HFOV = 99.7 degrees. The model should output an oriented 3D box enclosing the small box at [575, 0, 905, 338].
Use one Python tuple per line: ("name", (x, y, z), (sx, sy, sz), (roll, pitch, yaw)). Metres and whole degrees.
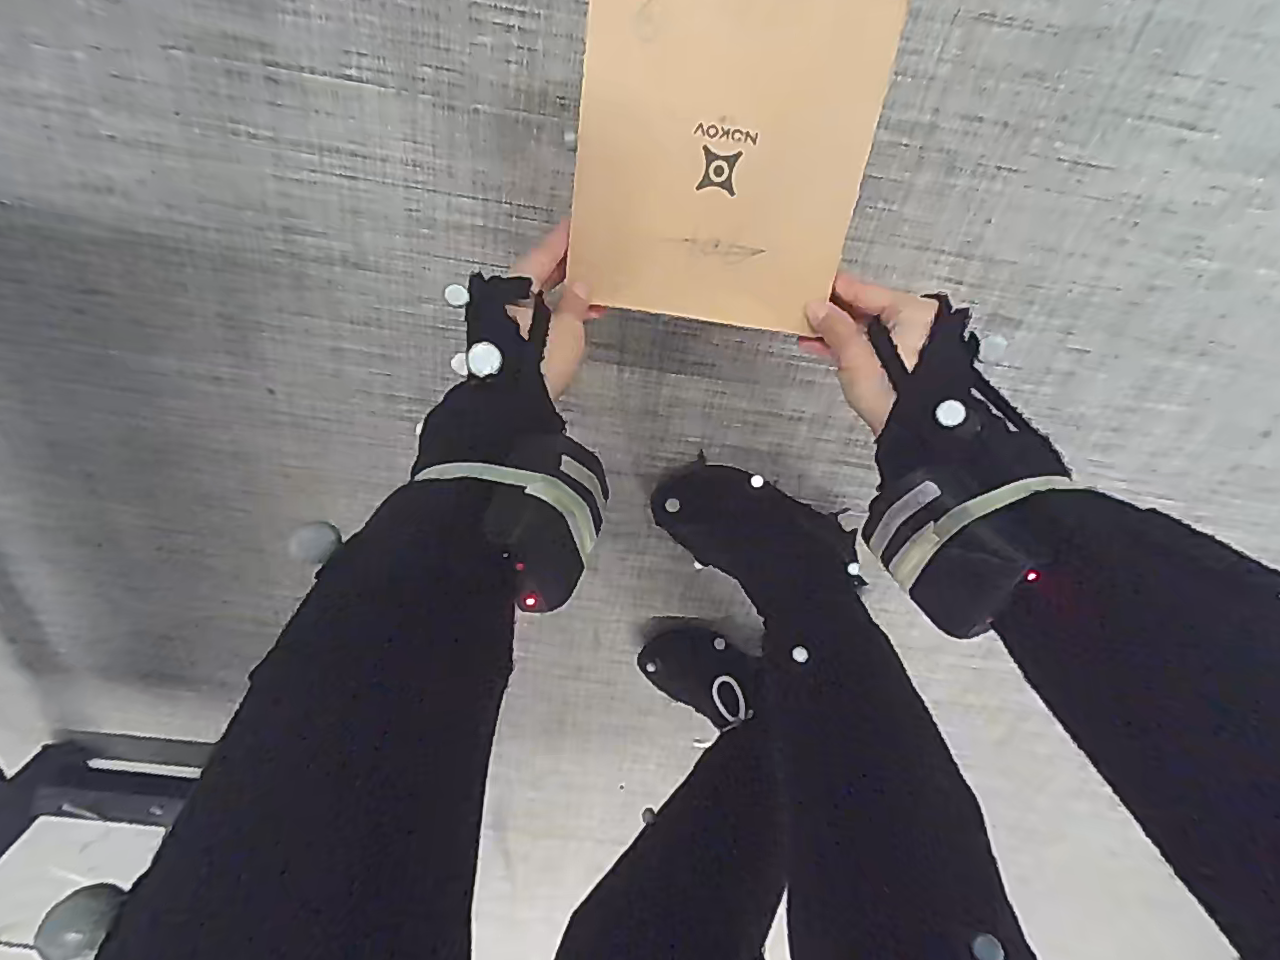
("small box", (0.052, -0.211, 0.387), (0.168, 0.176, 0.179), (7, 113, 0))
